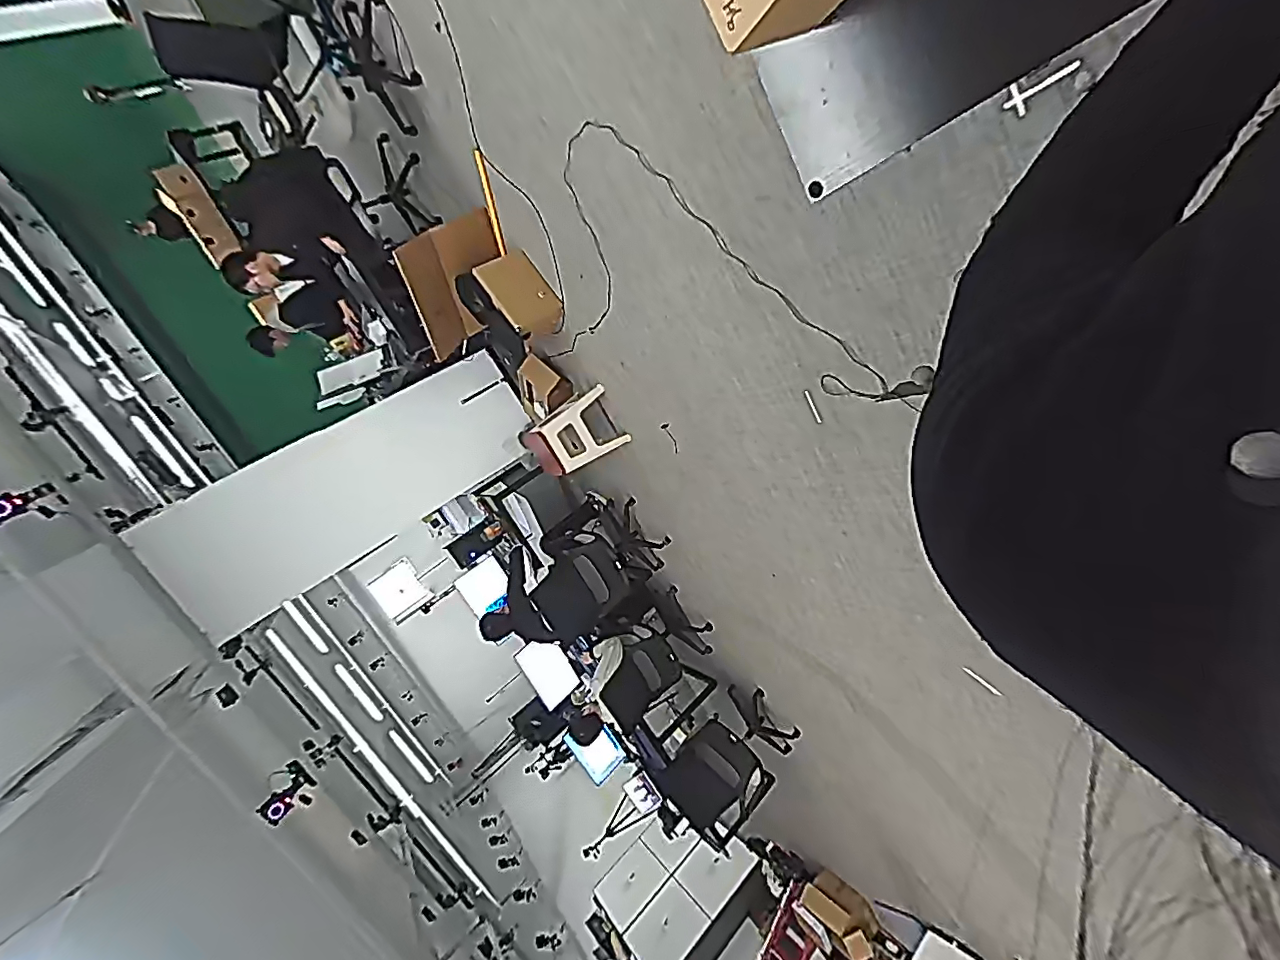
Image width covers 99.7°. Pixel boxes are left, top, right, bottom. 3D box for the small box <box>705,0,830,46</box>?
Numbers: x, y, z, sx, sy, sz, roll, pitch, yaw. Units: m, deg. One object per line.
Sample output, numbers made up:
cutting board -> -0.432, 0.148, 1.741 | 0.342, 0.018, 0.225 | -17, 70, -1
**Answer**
small box -> 0.158, -0.606, 0.555 | 0.179, 0.176, 0.168 | -8, 115, 60
